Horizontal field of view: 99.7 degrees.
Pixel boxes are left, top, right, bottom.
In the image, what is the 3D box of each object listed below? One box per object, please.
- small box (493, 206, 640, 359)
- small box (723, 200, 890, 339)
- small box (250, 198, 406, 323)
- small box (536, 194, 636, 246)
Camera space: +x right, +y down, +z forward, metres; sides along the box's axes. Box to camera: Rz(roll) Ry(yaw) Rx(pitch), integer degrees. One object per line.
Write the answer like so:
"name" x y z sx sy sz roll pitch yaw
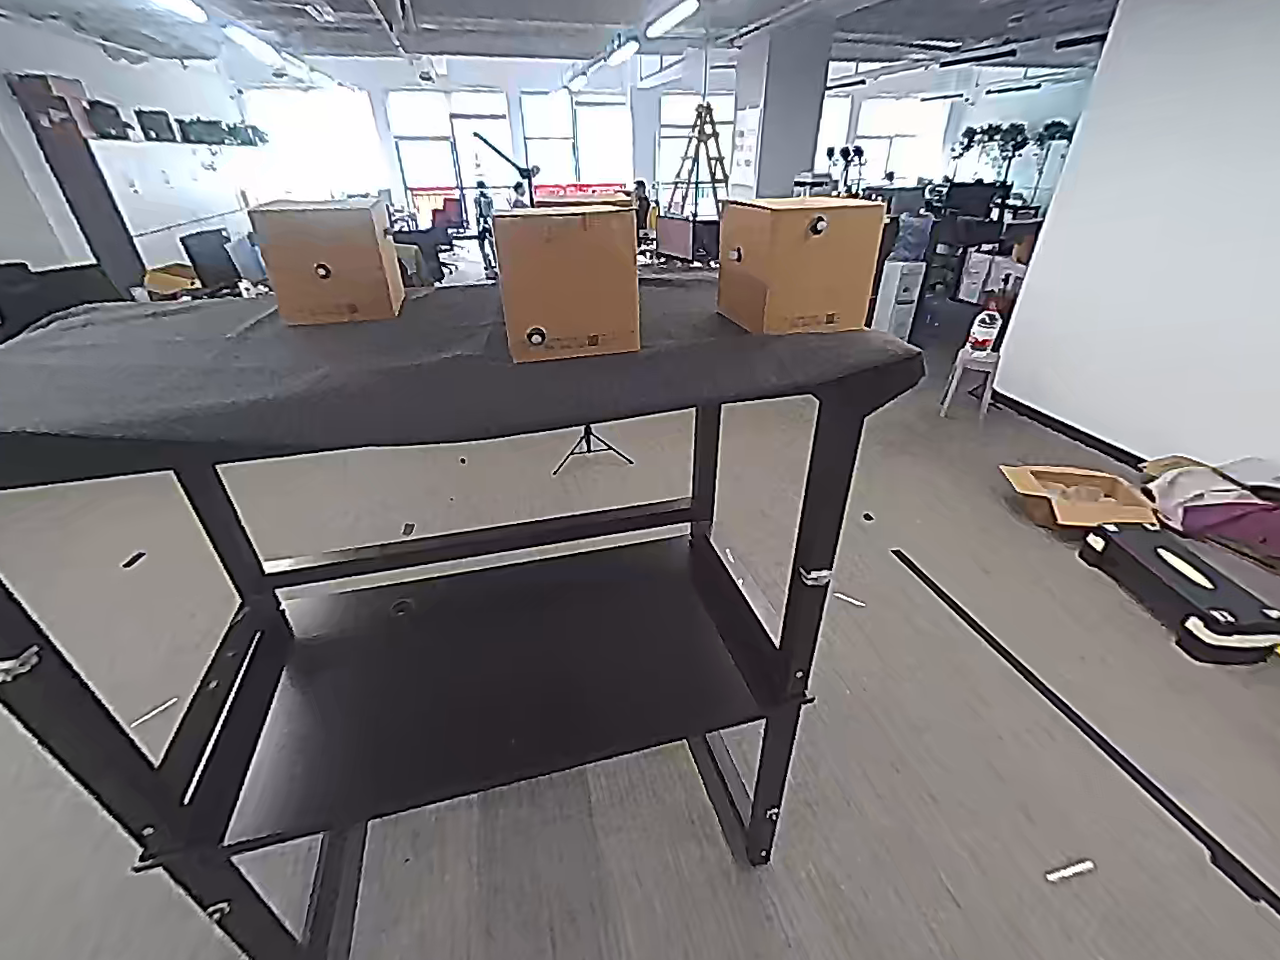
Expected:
"small box" -0.098 -0.263 0.718 0.168 0.176 0.179 -8 29 -12
"small box" 0.229 -0.314 0.797 0.168 0.176 0.179 -9 31 -12
"small box" -0.495 -0.360 0.890 0.168 0.176 0.179 -8 32 -13
"small box" -0.098 -0.421 0.989 0.168 0.176 0.179 -4 31 -8
